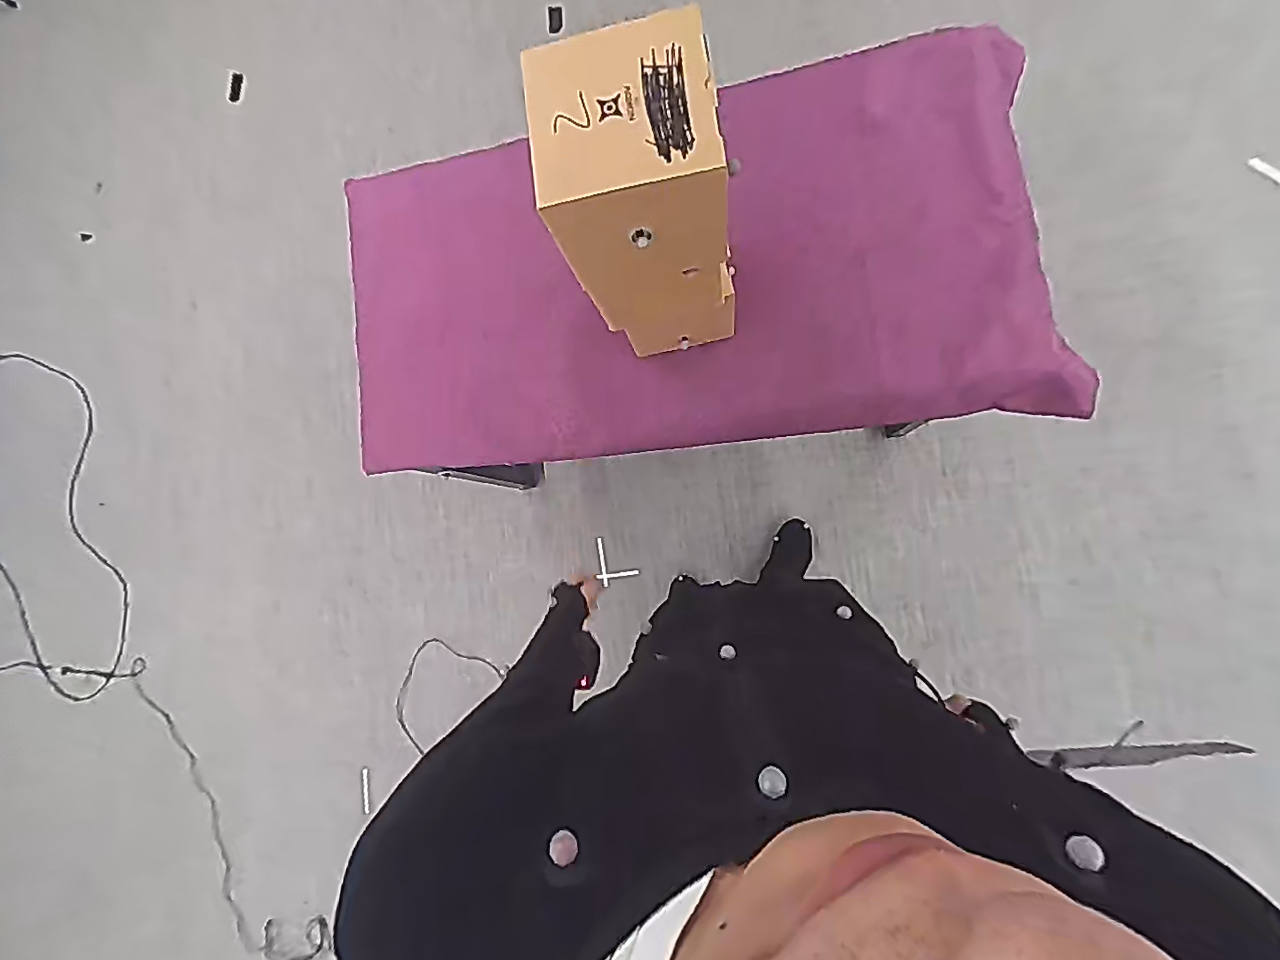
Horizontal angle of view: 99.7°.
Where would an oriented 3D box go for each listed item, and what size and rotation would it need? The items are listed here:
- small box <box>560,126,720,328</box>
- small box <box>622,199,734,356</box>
[{"bbox_3d":[0.009,-0.325,0.732,0.179,0.176,0.168,-11,82,8],"label":"small box"},{"bbox_3d":[0.051,-0.321,0.890,0.179,0.176,0.168,-11,82,7],"label":"small box"}]
